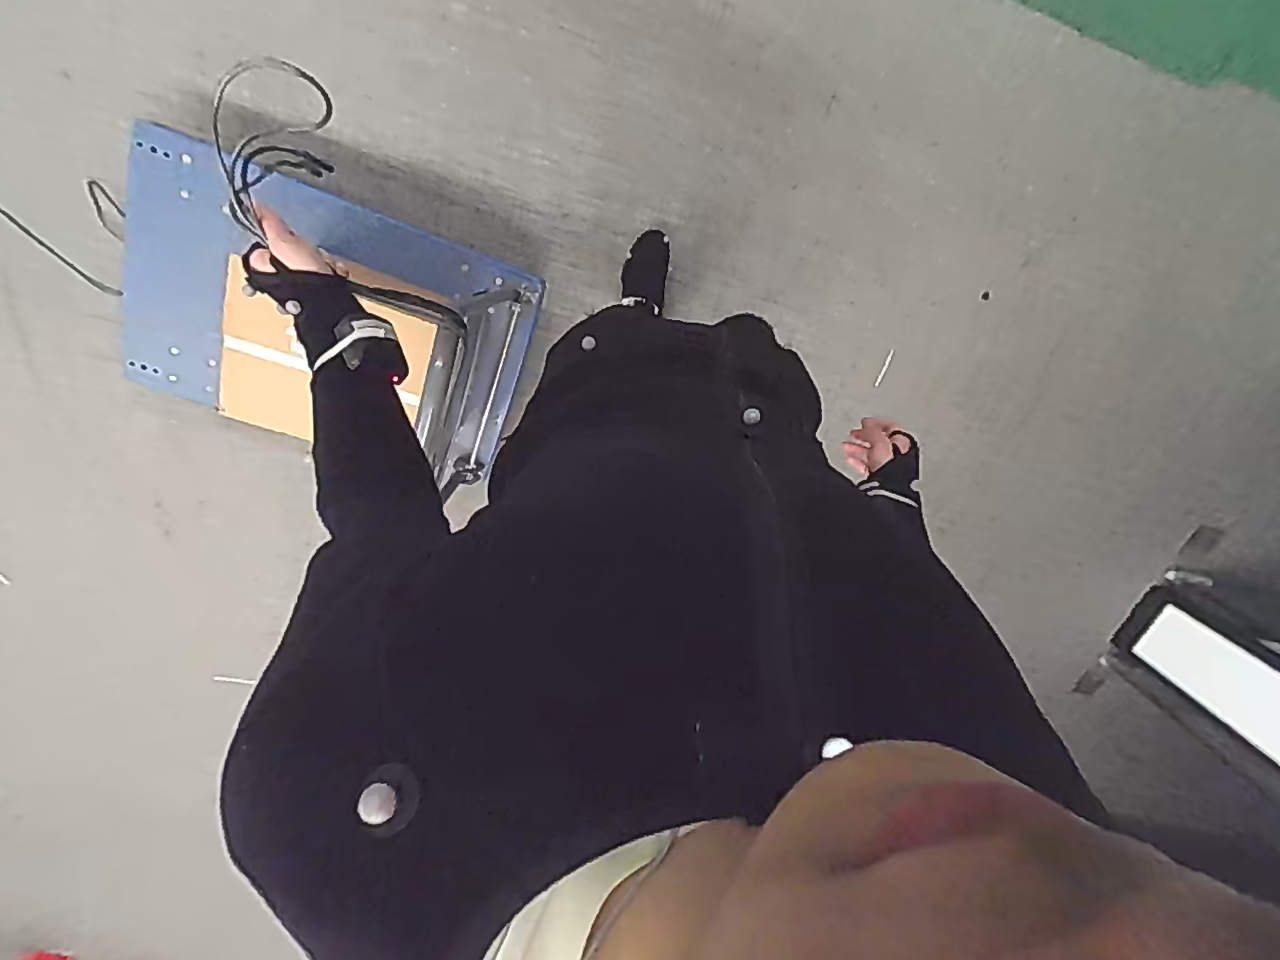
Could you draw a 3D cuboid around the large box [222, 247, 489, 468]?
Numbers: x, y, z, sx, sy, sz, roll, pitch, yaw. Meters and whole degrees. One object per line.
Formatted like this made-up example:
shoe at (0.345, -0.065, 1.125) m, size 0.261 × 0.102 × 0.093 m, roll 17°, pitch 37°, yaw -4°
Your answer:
large box at (-0.581, -0.272, 1.163) m, size 0.408 × 0.320 × 0.320 m, roll 18°, pitch 112°, yaw -12°
